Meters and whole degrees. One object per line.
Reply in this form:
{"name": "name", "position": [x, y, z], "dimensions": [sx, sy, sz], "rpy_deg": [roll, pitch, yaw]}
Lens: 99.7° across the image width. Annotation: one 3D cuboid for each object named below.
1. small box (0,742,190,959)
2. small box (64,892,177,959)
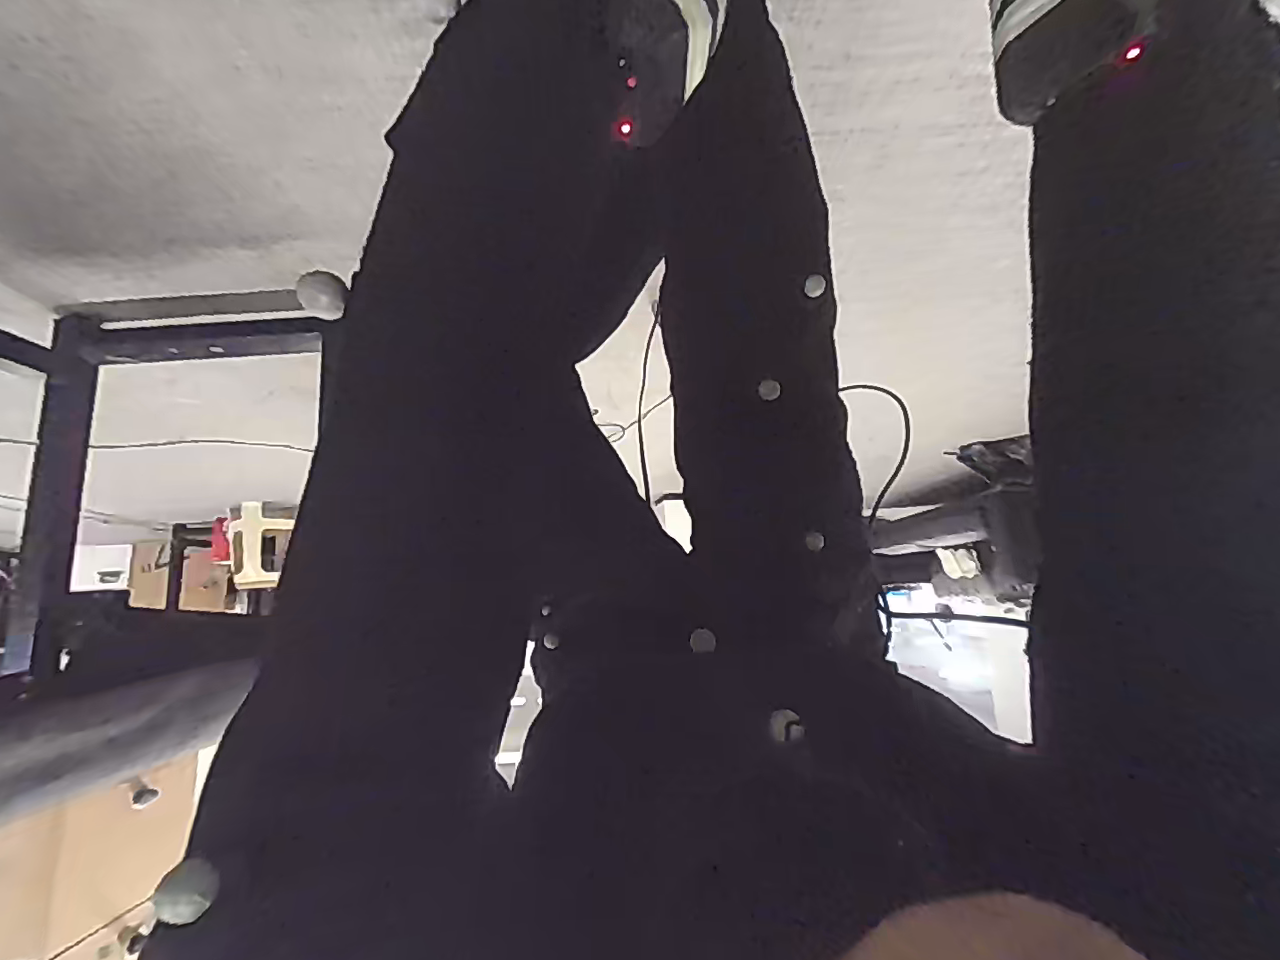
{"name": "small box", "position": [-0.642, 0.398, 0.592], "dimensions": [0.179, 0.176, 0.168], "rpy_deg": [-5, 169, 1]}
{"name": "small box", "position": [-0.631, 0.557, 0.561], "dimensions": [0.179, 0.176, 0.168], "rpy_deg": [-5, 170, 1]}
